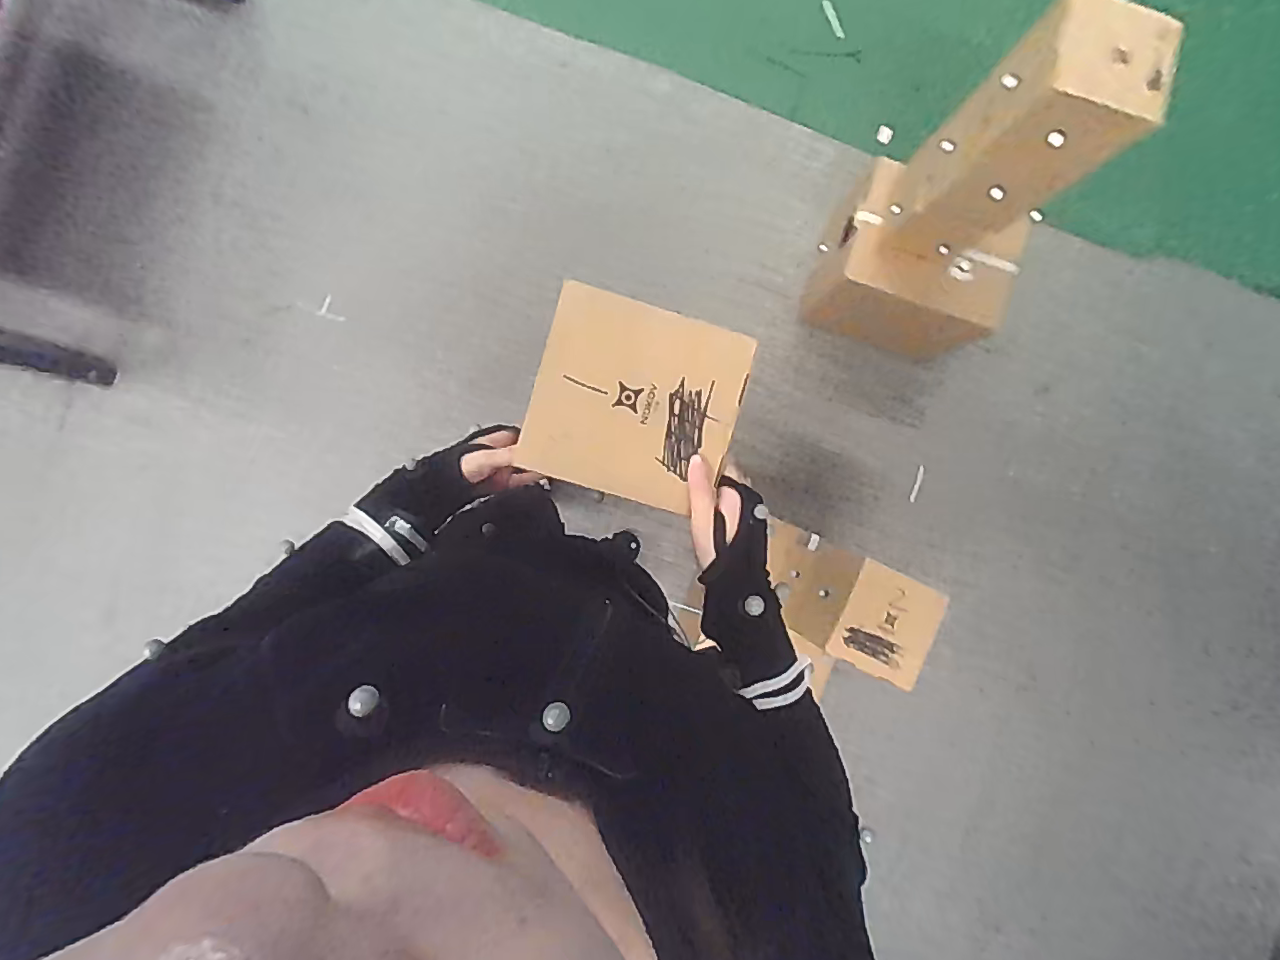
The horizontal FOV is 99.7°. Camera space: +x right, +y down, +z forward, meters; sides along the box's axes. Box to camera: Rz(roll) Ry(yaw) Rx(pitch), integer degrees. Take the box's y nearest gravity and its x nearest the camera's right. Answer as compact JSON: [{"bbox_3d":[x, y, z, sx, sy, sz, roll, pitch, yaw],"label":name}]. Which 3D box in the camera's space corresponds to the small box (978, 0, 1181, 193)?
[{"bbox_3d":[0.686,-0.597,0.865,0.179,0.176,0.168,16,87,-3],"label":"small box"}]

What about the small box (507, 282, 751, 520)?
[{"bbox_3d":[-0.014,-0.070,0.542,0.179,0.176,0.168,16,91,-4],"label":"small box"}]

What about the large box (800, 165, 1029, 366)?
[{"bbox_3d":[0.700,-0.543,1.438,0.408,0.320,0.320,19,87,-4],"label":"large box"}]

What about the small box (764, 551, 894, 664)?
[{"bbox_3d":[0.387,0.259,1.145,0.179,0.176,0.168,25,87,-5],"label":"small box"}]

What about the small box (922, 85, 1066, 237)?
[{"bbox_3d":[0.676,-0.593,1.030,0.179,0.176,0.168,14,88,-5],"label":"small box"}]

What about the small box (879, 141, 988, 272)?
[{"bbox_3d":[0.657,-0.590,1.192,0.168,0.176,0.179,18,86,-4],"label":"small box"}]
